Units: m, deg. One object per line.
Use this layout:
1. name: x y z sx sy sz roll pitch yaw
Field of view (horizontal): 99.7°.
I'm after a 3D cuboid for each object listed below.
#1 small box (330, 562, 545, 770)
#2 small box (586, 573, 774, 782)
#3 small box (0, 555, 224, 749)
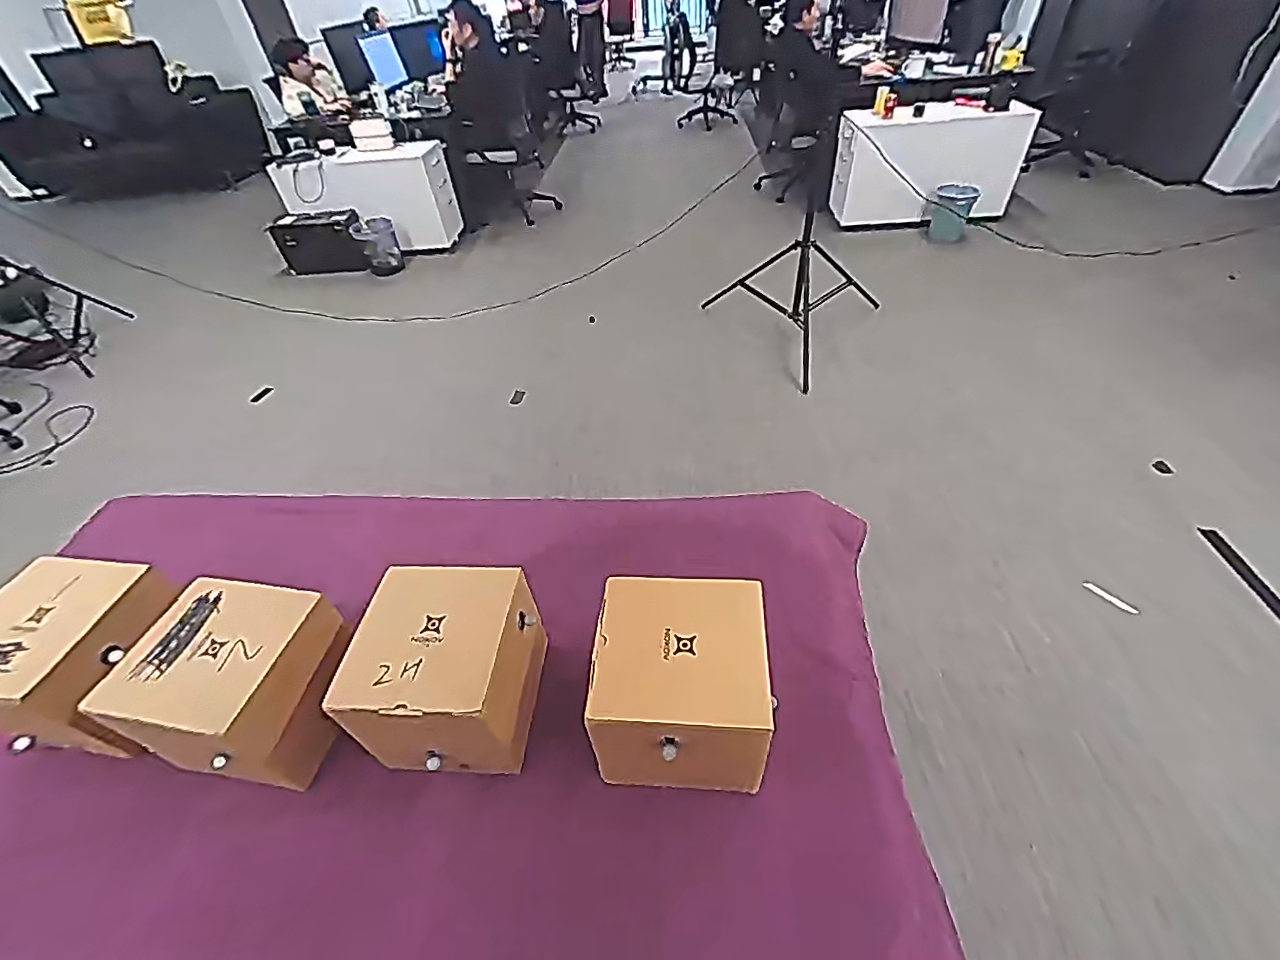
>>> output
1. small box: -0.217 0.218 0.642 0.168 0.176 0.179 -1 44 6
2. small box: 0.048 0.223 0.609 0.179 0.176 0.168 0 43 7
3. small box: -0.693 0.220 0.688 0.168 0.176 0.179 3 45 8
